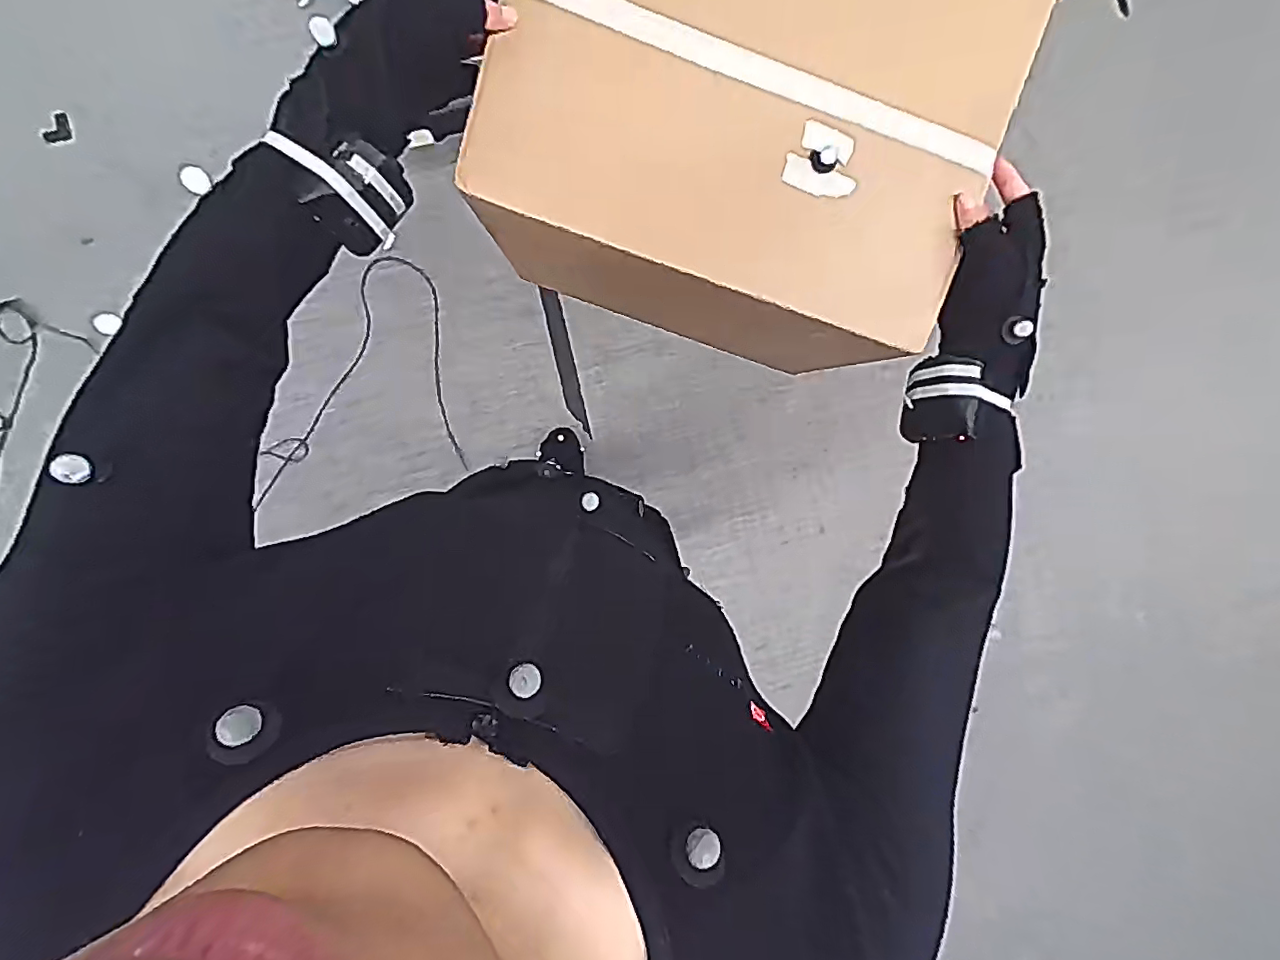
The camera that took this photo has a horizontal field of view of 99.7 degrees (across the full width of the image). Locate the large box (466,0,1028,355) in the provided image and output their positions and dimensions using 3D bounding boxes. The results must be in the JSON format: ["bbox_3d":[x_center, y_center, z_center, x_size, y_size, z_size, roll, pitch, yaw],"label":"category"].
[{"bbox_3d":[0.079,-0.349,0.575,0.408,0.320,0.320,16,98,-6],"label":"large box"}]
